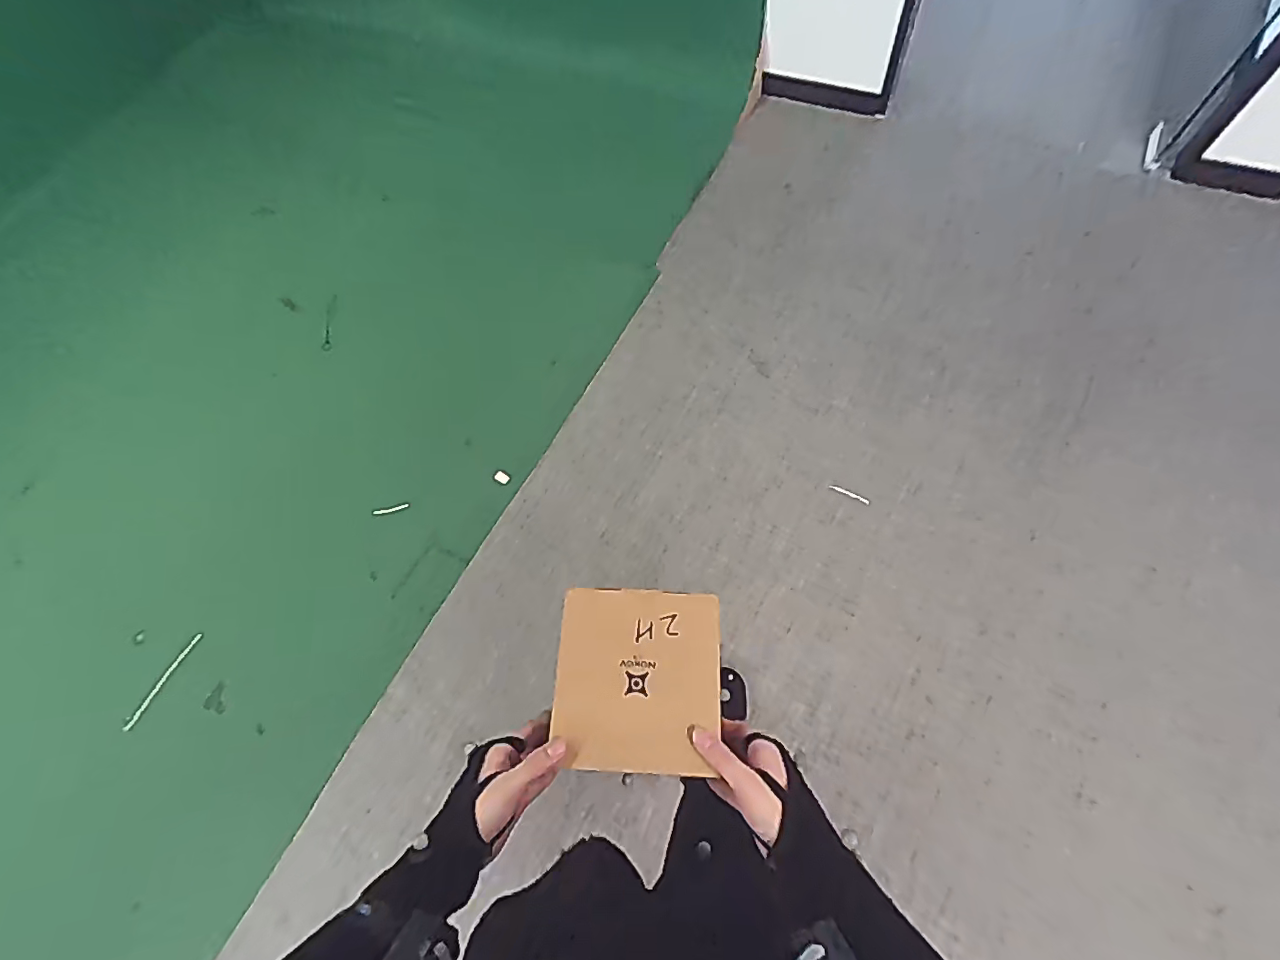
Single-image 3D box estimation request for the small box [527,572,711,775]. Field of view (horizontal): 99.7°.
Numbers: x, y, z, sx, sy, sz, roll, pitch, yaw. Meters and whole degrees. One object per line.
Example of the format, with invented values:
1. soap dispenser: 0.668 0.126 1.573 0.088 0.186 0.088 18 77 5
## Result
1. small box: -0.016 0.215 0.597 0.168 0.176 0.179 5 64 1
